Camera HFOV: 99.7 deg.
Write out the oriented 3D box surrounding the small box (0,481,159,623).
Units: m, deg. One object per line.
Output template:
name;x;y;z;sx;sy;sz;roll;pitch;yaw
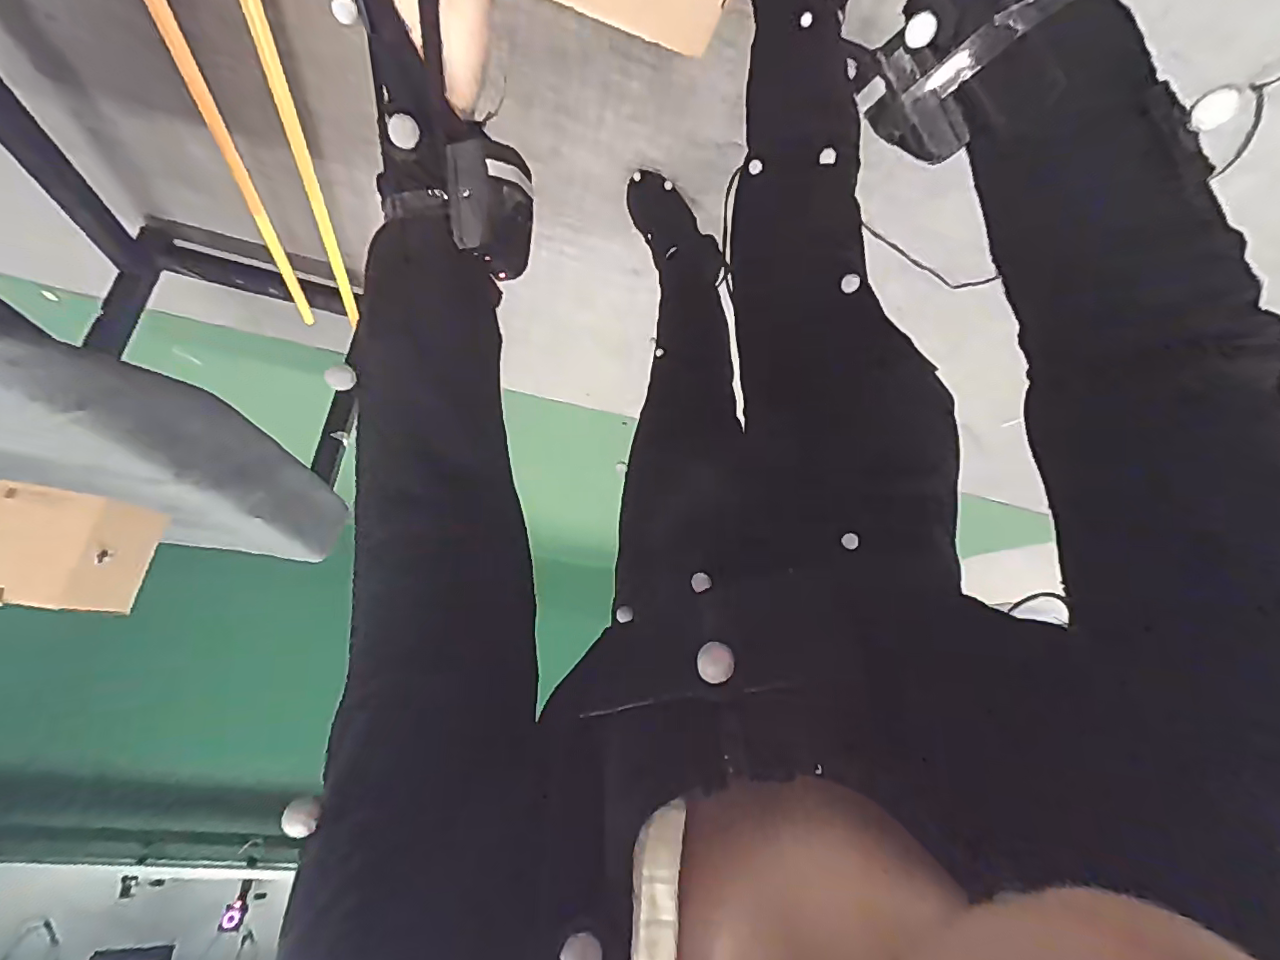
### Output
small box;-0.858;0.107;0.779;0.168;0.176;0.179;13;161;-14
